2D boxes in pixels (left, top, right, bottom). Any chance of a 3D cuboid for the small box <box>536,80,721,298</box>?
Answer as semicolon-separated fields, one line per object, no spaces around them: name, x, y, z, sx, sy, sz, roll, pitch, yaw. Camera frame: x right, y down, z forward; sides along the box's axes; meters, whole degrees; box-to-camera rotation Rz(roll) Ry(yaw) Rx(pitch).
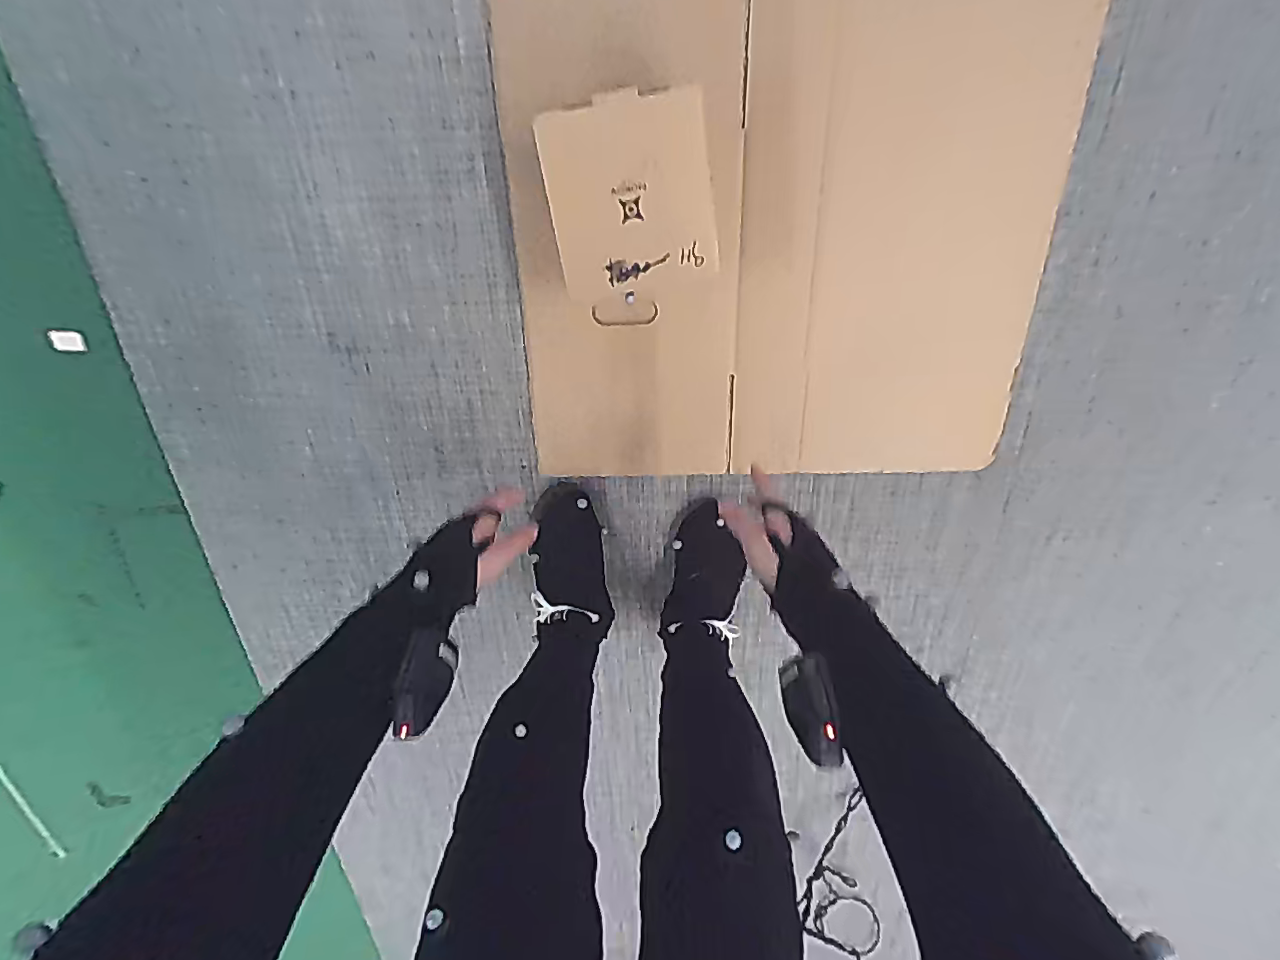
small box;-0.007;-0.314;0.614;0.168;0.176;0.179;-8;113;5
